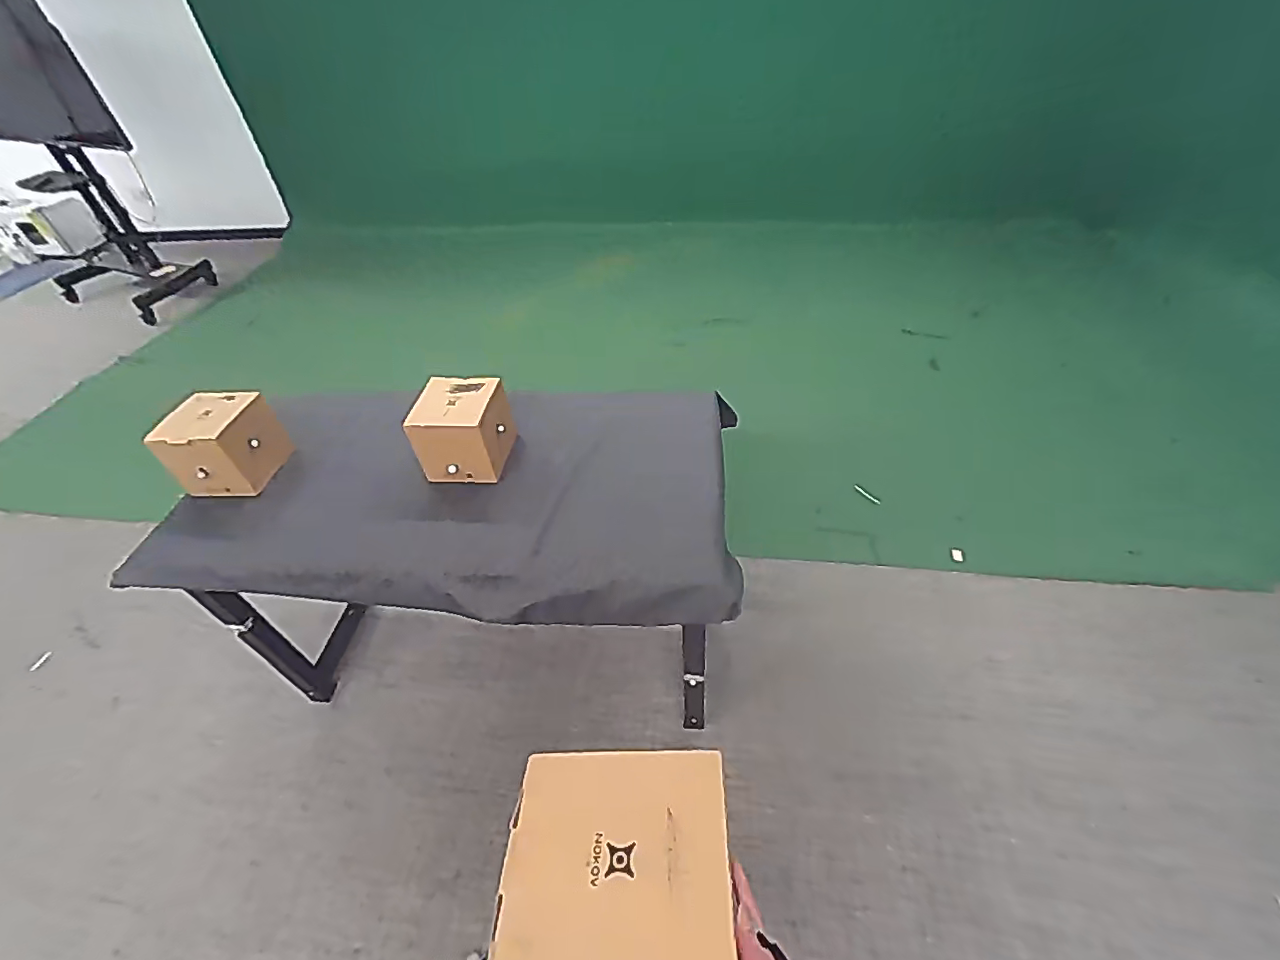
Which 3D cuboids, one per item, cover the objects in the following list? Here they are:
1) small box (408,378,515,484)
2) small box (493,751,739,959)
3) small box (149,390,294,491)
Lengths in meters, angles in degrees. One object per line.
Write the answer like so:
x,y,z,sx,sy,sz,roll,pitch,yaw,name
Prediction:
-0.393,-0.113,1.231,0.168,0.176,0.179,2,46,6,small box
-0.007,0.360,0.475,0.179,0.176,0.168,-4,39,6,small box
-0.945,-0.088,1.244,0.168,0.176,0.179,1,45,4,small box
